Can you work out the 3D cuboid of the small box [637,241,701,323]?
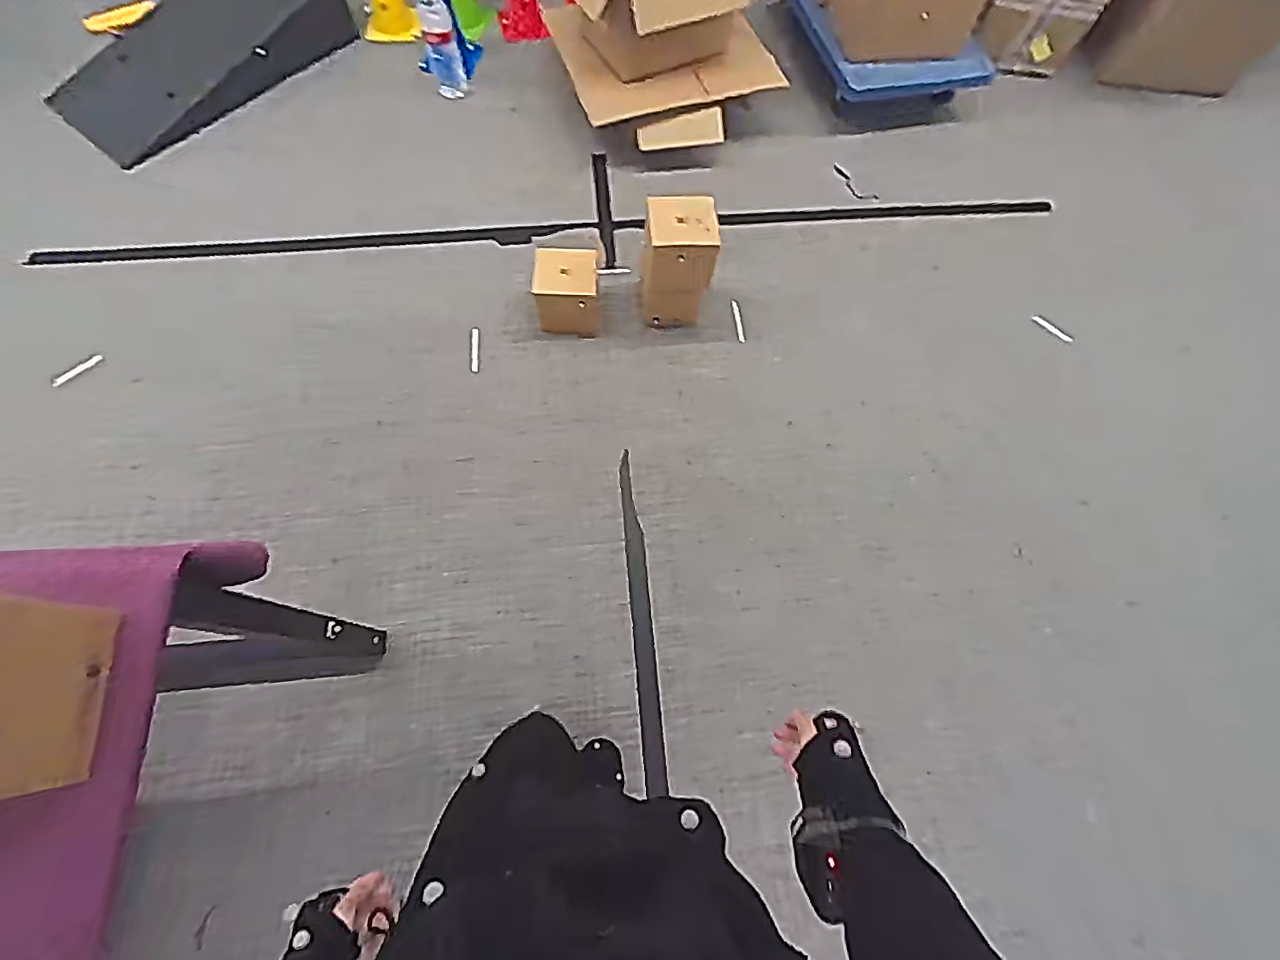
[{"bbox_3d":[0.085,-0.584,1.606,0.168,0.176,0.179,-5,68,-6],"label":"small box"}]

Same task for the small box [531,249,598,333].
[{"bbox_3d":[-0.215,-0.547,1.574,0.179,0.176,0.168,1,68,-3],"label":"small box"}]

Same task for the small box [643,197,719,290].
[{"bbox_3d":[0.101,-0.629,1.448,0.179,0.176,0.168,-3,69,-6],"label":"small box"}]
